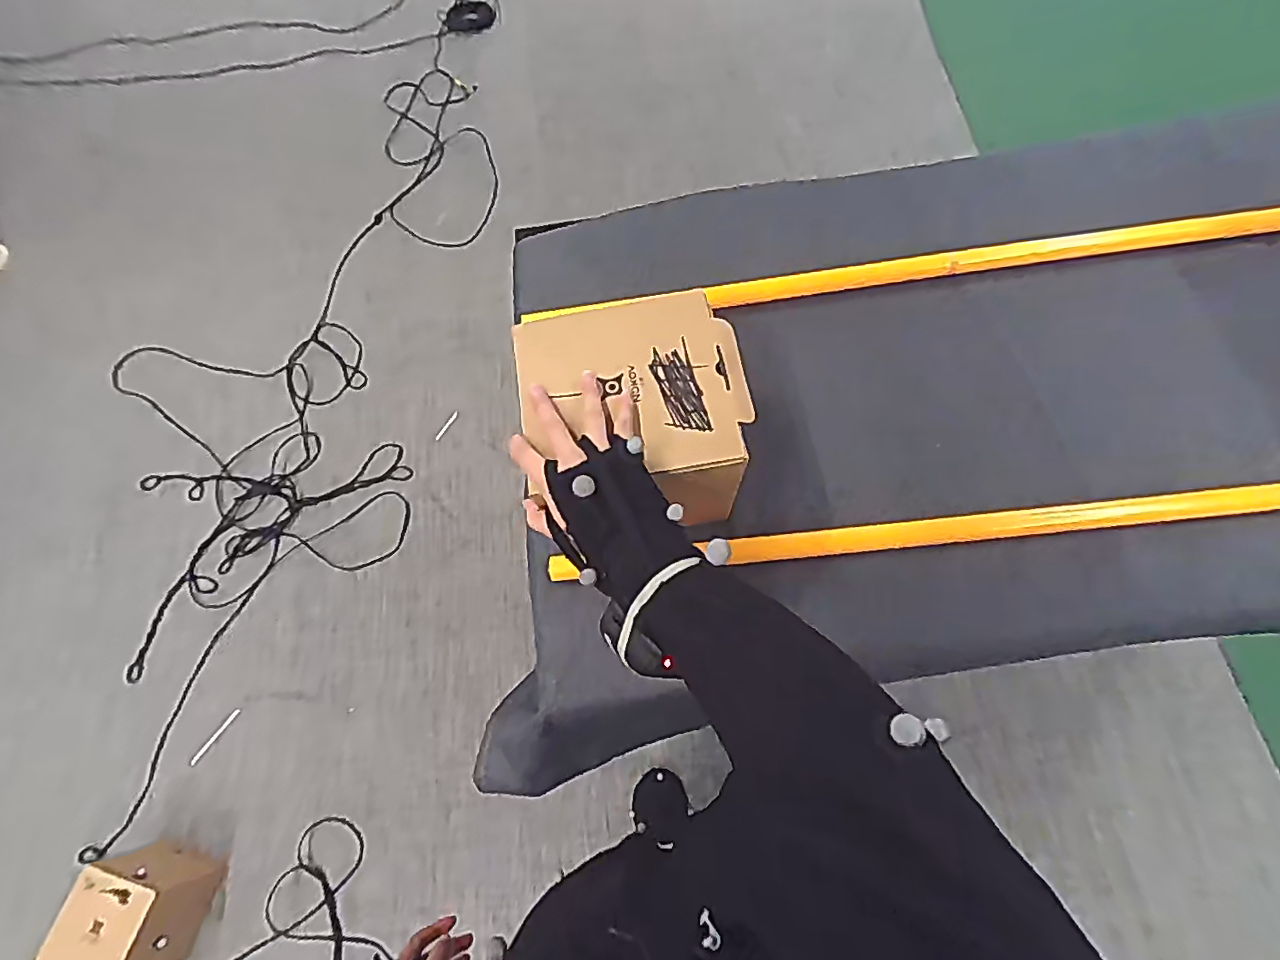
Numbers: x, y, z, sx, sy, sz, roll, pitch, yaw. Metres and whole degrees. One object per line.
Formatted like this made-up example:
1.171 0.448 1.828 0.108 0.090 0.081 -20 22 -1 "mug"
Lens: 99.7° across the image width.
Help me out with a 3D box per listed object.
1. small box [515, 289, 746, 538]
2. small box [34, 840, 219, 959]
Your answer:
-0.009 -0.052 0.524 0.179 0.176 0.168 -10 69 1 "small box"
-0.978 0.839 1.047 0.168 0.176 0.179 13 71 9 "small box"
